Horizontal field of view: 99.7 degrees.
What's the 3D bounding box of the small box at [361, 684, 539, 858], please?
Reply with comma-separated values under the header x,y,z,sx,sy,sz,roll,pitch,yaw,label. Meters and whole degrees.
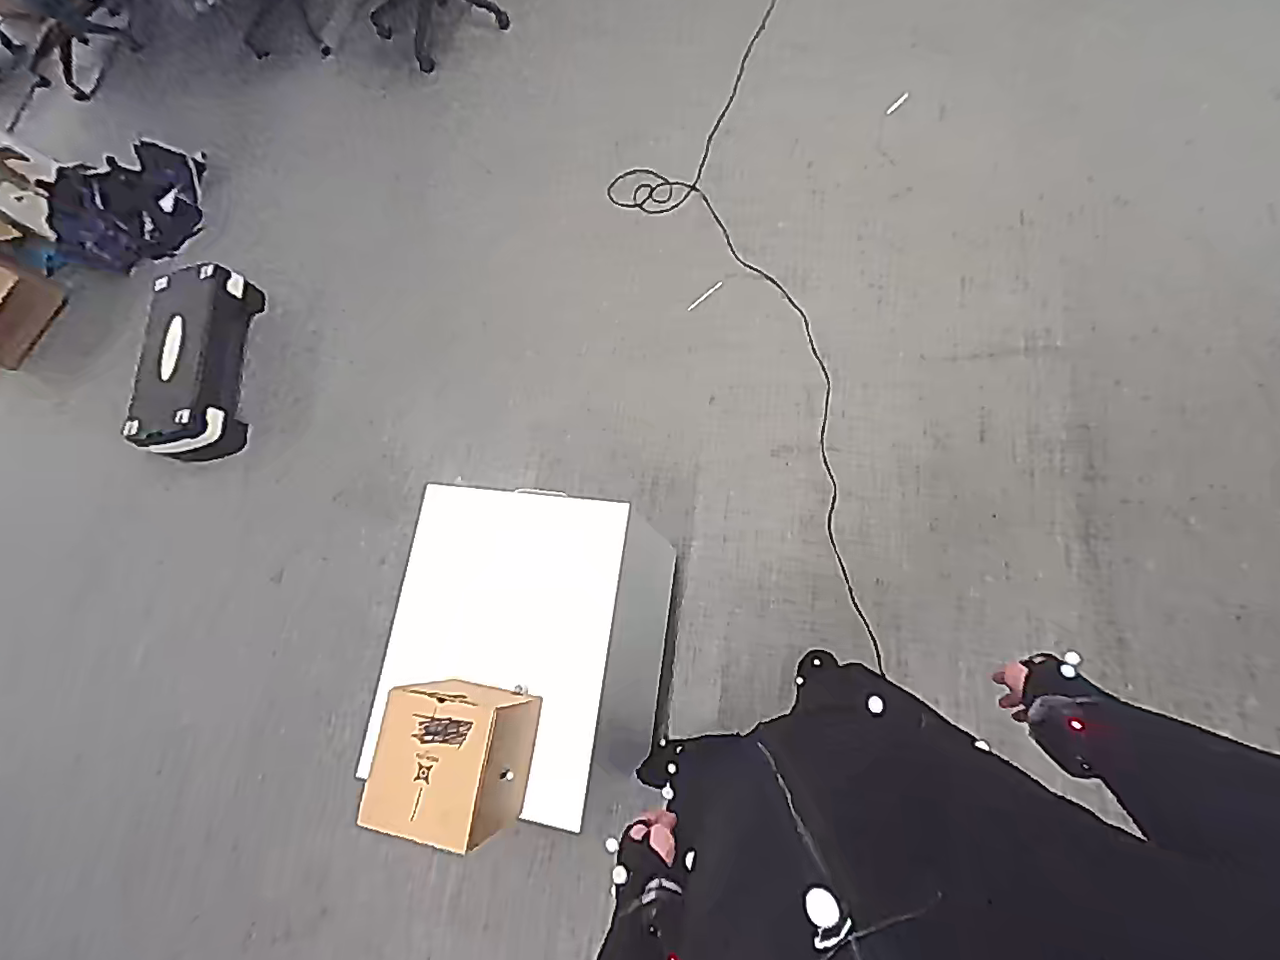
x,y,z,sx,sy,sz,roll,pitch,yaw,label
-0.262,0.405,0.790,0.168,0.176,0.179,5,75,15,small box
